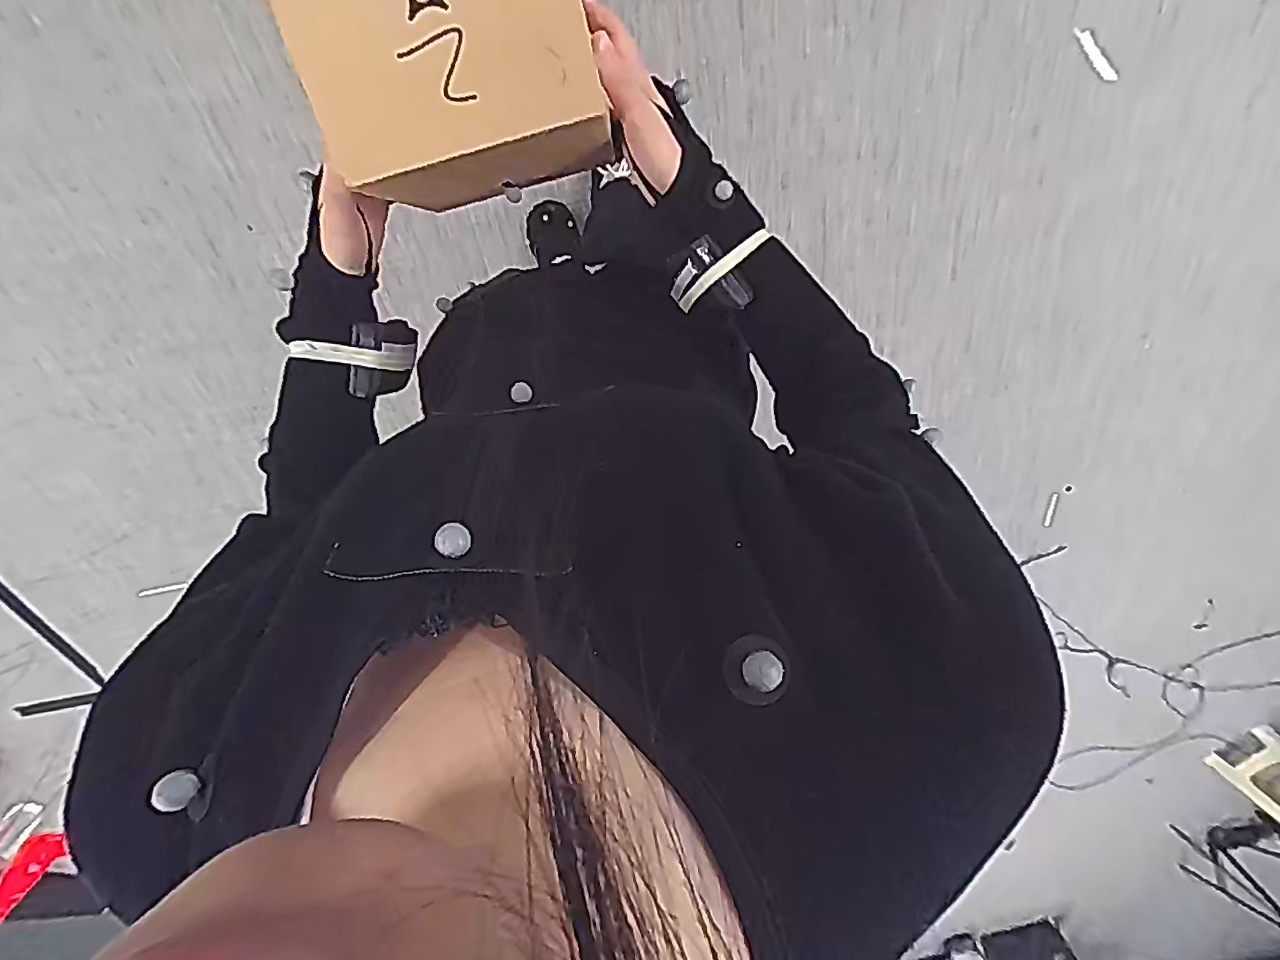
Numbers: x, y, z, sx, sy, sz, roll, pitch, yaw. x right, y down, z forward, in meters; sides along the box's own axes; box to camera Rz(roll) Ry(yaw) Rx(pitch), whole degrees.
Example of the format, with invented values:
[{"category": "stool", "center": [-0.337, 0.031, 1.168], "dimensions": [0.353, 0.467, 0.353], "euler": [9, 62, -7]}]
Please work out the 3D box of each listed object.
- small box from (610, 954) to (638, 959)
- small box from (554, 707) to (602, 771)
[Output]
[{"category": "small box", "center": [-0.079, 1.603, 1.661], "dimensions": [0.179, 0.176, 0.168], "euler": [-11, 123, -2]}, {"category": "small box", "center": [-0.251, 1.026, 2.147], "dimensions": [0.179, 0.176, 0.168], "euler": [2, 120, -10]}]
